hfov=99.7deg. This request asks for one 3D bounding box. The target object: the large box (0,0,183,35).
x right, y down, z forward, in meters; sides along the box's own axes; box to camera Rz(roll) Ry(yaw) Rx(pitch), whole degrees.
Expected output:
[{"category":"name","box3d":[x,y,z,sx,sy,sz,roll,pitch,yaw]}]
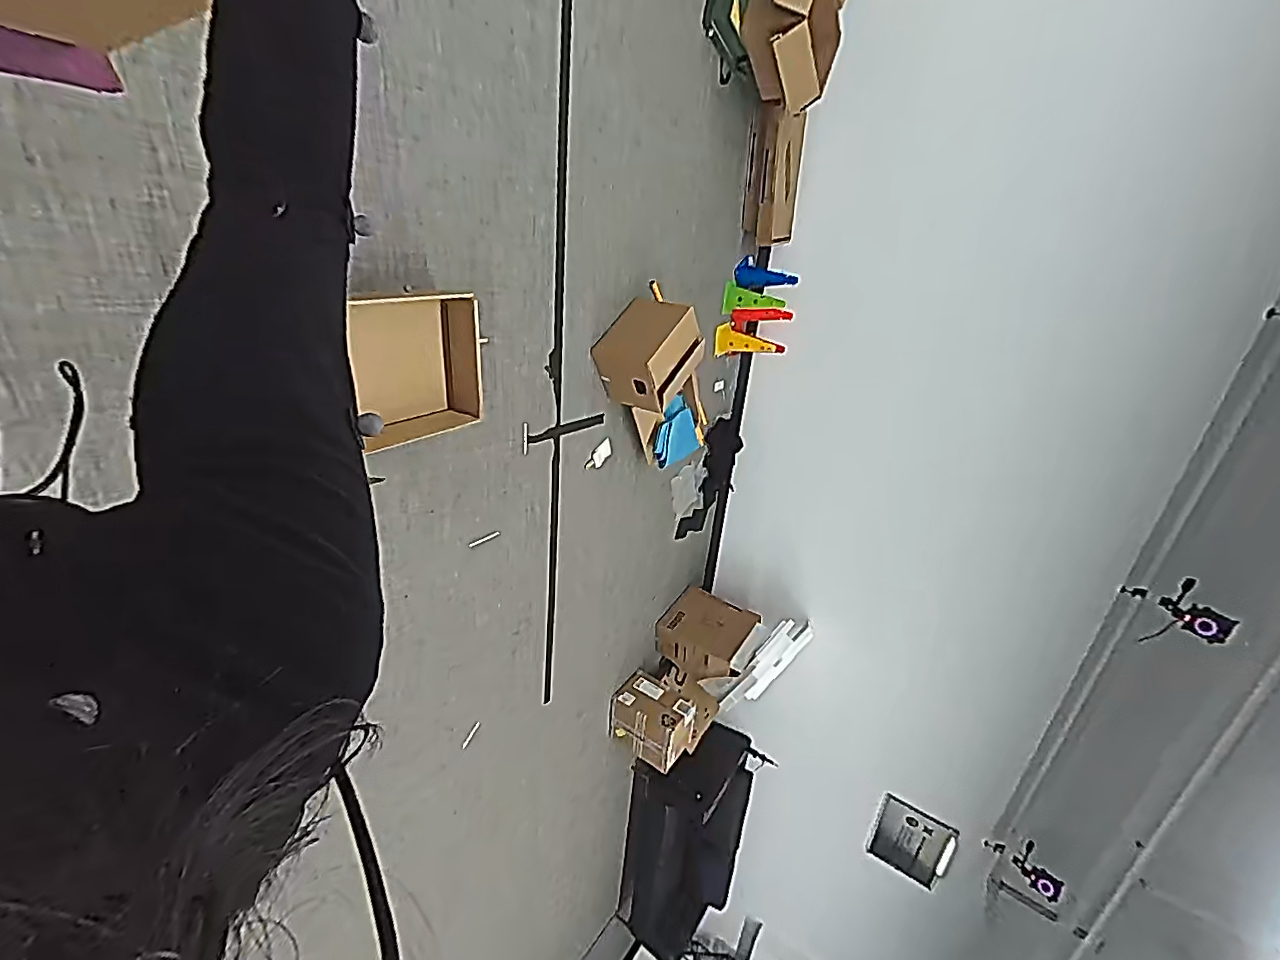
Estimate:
[{"category":"large box","box3d":[-0.474,-0.455,0.218,0.408,0.320,0.320,-25,128,-52]}]
